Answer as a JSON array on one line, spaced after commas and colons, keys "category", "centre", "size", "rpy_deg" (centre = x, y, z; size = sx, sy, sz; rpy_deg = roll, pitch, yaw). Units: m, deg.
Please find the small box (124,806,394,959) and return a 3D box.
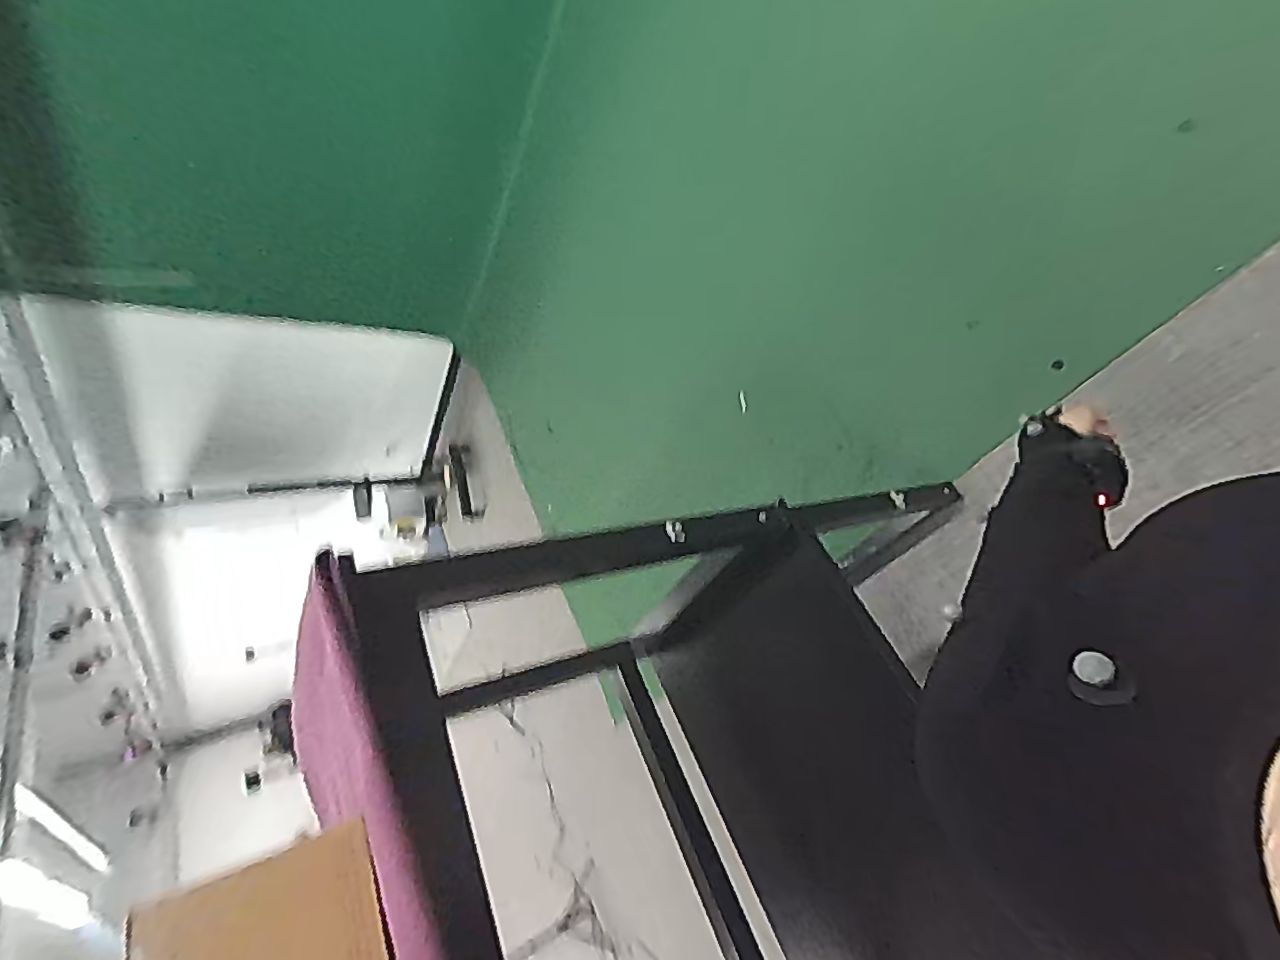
[{"category": "small box", "centre": [-0.320, 0.428, 0.476], "size": [0.168, 0.176, 0.179], "rpy_deg": [-55, 52, 43]}]
